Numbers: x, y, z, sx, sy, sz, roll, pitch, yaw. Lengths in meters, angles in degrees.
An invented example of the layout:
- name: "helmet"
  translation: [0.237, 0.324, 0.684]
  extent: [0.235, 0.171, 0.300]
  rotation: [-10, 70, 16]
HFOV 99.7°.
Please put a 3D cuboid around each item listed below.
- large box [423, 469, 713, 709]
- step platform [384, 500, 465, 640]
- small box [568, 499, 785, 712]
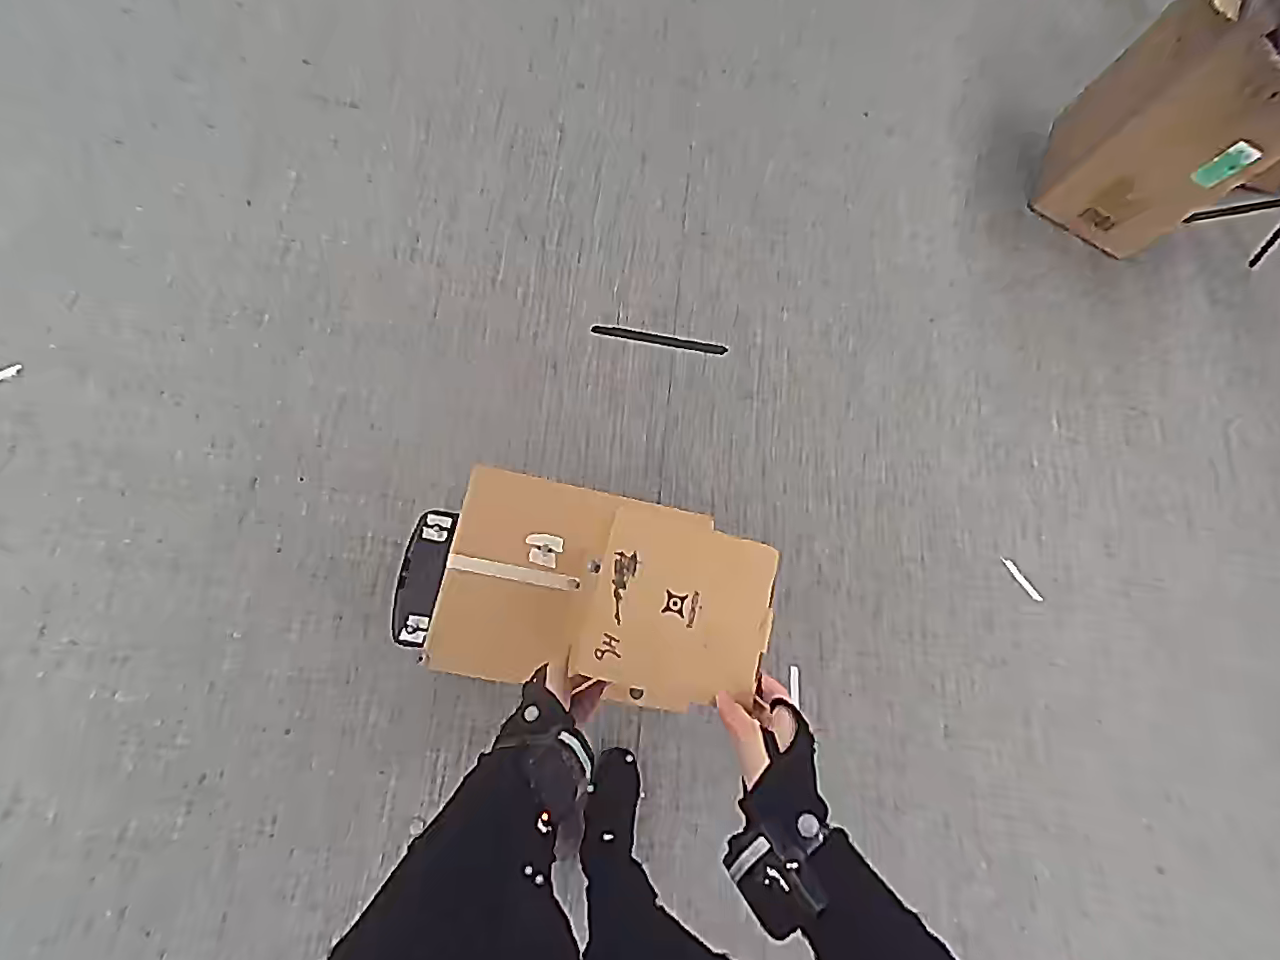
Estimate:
- name: "large box"
  translation: [-0.115, 0.201, 0.974]
  extent: [0.408, 0.320, 0.320]
  rotation: [12, 72, -6]
- name: "step platform"
  translation: [-0.184, 0.261, 1.195]
  extent: [0.684, 0.204, 0.286]
  rotation: [14, 73, -6]
- name: "small box"
  translation: [0.030, 0.136, 0.589]
  extent: [0.179, 0.176, 0.168]
  rotation: [17, 72, -7]
